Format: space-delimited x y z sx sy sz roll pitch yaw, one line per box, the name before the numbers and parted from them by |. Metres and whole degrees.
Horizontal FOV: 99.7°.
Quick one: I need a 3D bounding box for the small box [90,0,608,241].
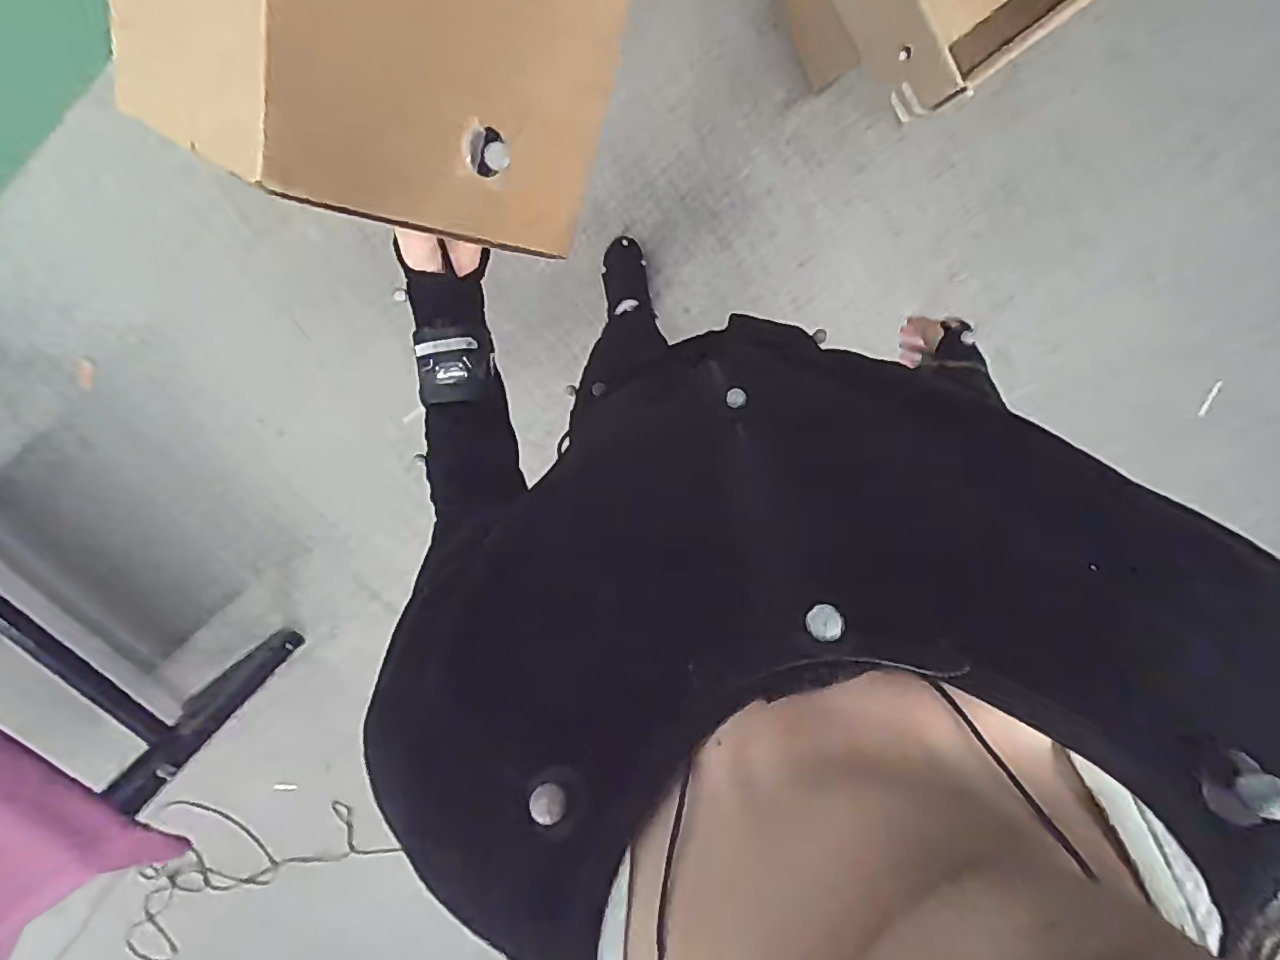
small box | -0.133 -0.246 0.270 0.168 0.179 0.176 32 115 26
